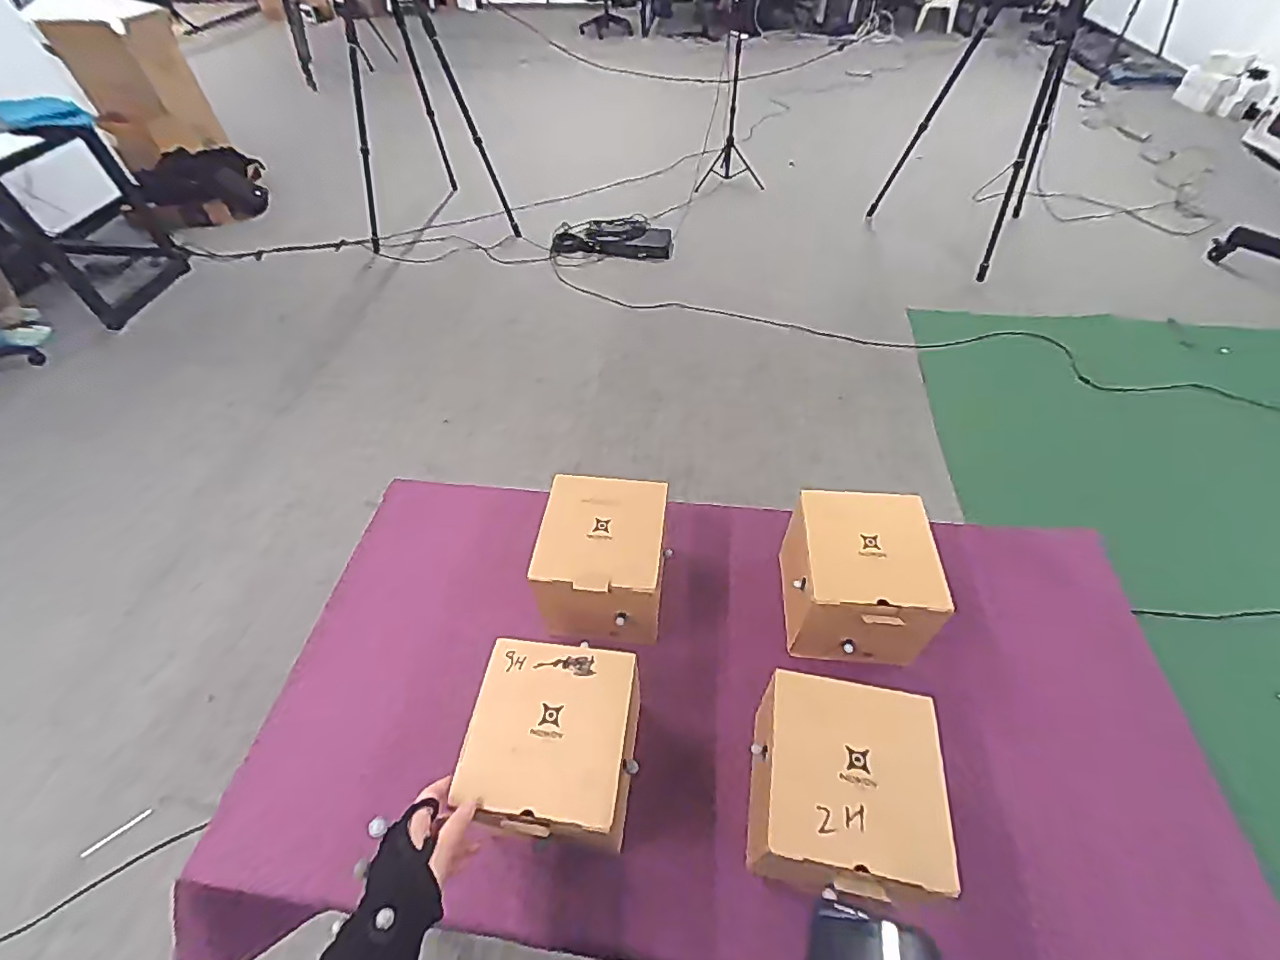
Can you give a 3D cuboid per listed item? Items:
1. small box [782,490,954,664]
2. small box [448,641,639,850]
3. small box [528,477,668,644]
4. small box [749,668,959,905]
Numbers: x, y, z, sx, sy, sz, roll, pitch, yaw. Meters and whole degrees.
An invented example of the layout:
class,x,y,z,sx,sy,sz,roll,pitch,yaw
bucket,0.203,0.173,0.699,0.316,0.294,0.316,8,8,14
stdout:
class,x,y,z,sx,sy,sz,roll,pitch,yaw
small box,0.299,0.136,0.758,0.168,0.176,0.179,2,51,4
small box,-0.093,0.310,0.626,0.168,0.176,0.179,5,51,6
small box,-0.049,0.120,0.785,0.168,0.176,0.179,5,50,5
small box,0.215,0.335,0.591,0.168,0.176,0.179,8,50,9
